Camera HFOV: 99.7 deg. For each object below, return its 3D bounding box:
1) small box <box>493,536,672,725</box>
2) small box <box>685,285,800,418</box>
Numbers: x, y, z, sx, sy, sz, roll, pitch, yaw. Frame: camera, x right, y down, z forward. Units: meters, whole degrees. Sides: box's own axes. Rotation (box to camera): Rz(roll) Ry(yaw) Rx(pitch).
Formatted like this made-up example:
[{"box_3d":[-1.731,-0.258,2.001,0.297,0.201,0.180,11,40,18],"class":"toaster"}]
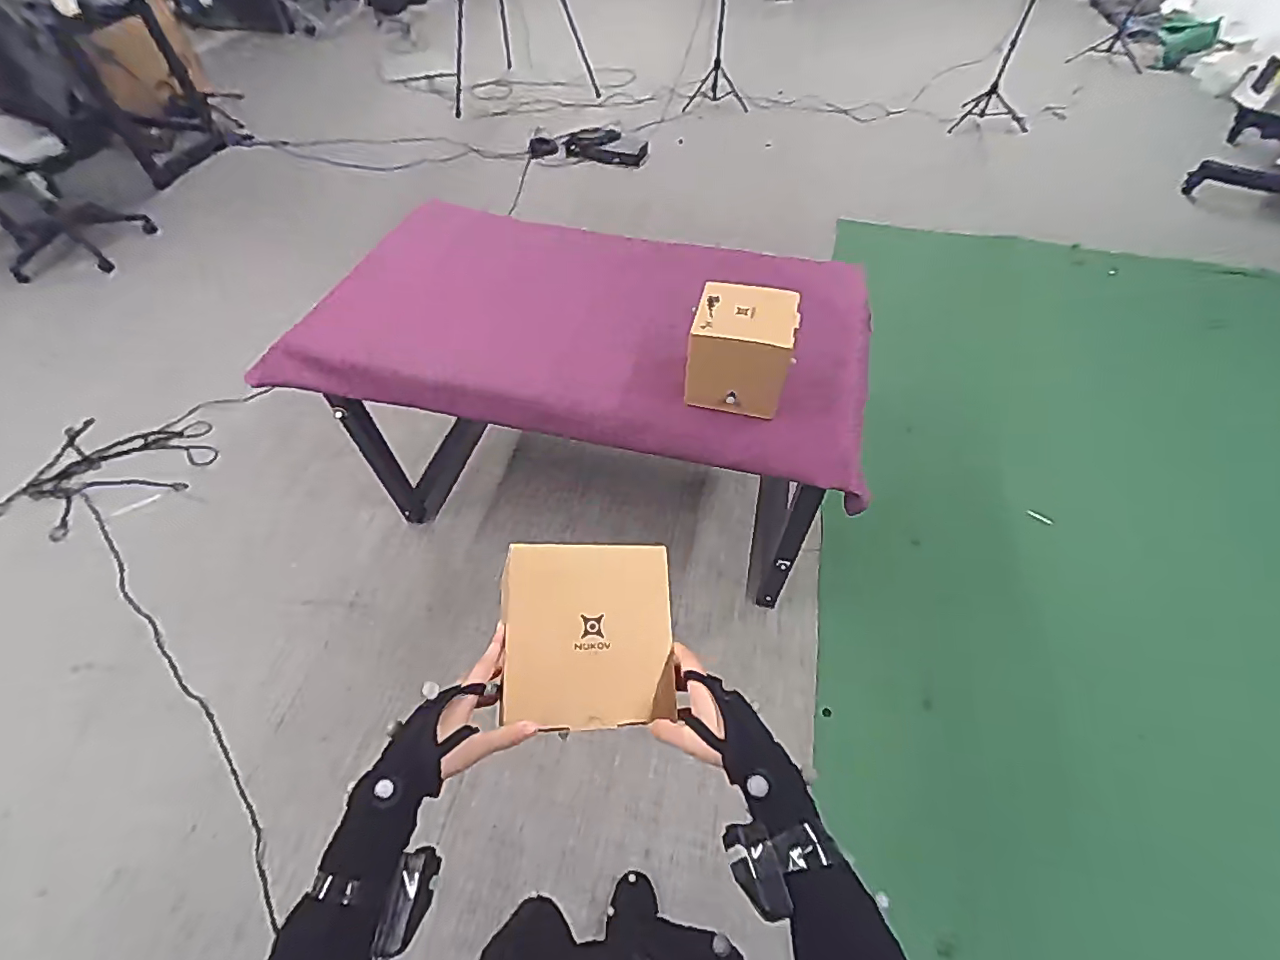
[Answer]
[{"box_3d":[-0.072,0.171,0.597,0.168,0.176,0.179,3,67,-15],"class":"small box"},{"box_3d":[0.188,-0.237,1.014,0.179,0.176,0.168,12,51,10],"class":"small box"}]
